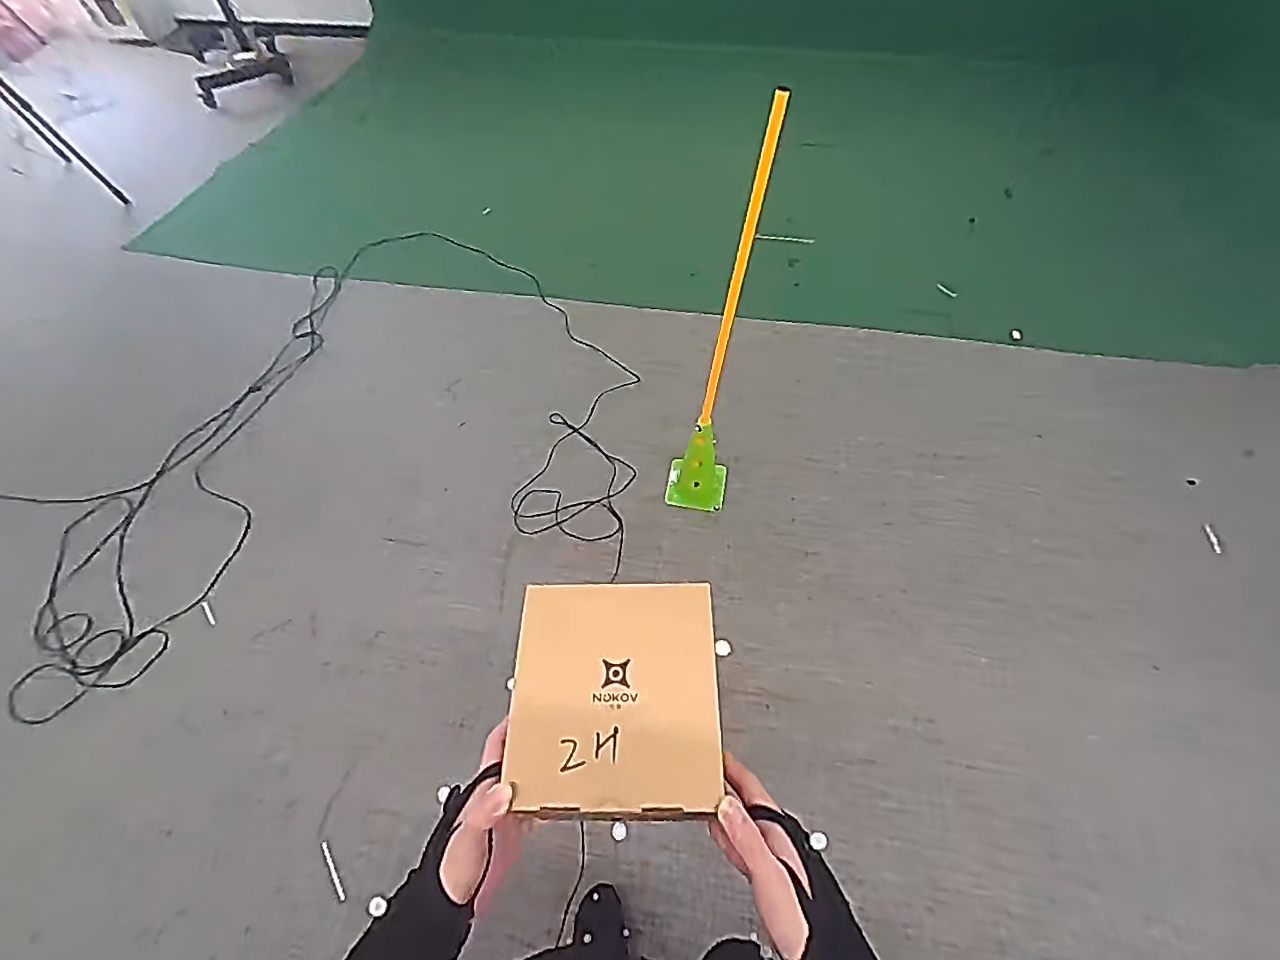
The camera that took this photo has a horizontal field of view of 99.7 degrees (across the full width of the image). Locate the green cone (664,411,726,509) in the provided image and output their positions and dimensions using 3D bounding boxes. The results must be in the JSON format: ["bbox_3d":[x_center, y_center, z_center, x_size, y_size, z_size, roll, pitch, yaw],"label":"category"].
[{"bbox_3d":[0.192,-0.091,1.766,0.202,0.368,0.200,8,55,7],"label":"green cone"}]
